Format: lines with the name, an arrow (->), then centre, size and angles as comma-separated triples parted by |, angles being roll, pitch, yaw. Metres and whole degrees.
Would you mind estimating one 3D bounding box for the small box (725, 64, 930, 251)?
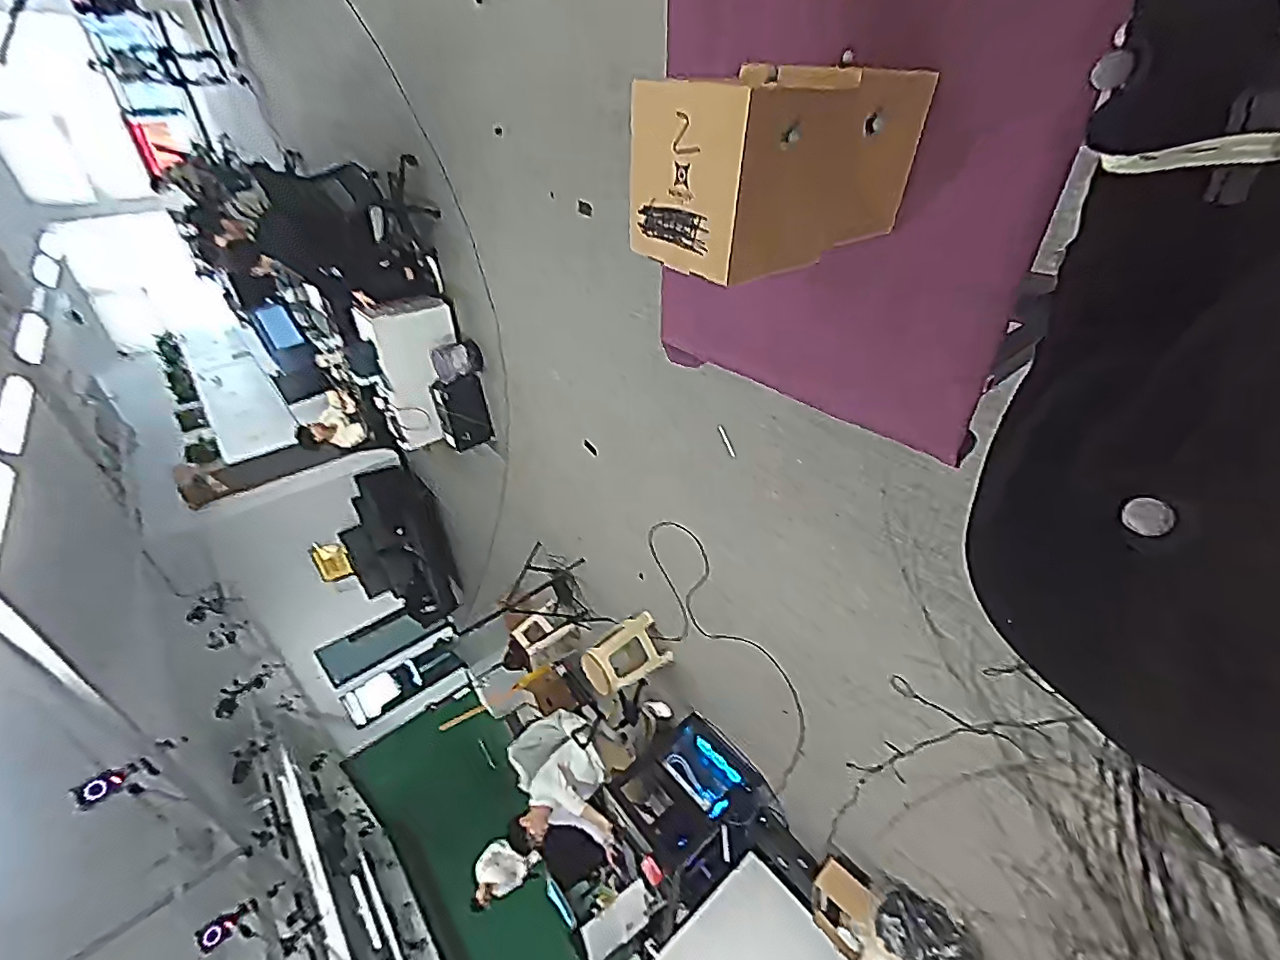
small box -> 0.234, -0.414, 0.687 | 0.168, 0.176, 0.179 | 38, 141, 36
